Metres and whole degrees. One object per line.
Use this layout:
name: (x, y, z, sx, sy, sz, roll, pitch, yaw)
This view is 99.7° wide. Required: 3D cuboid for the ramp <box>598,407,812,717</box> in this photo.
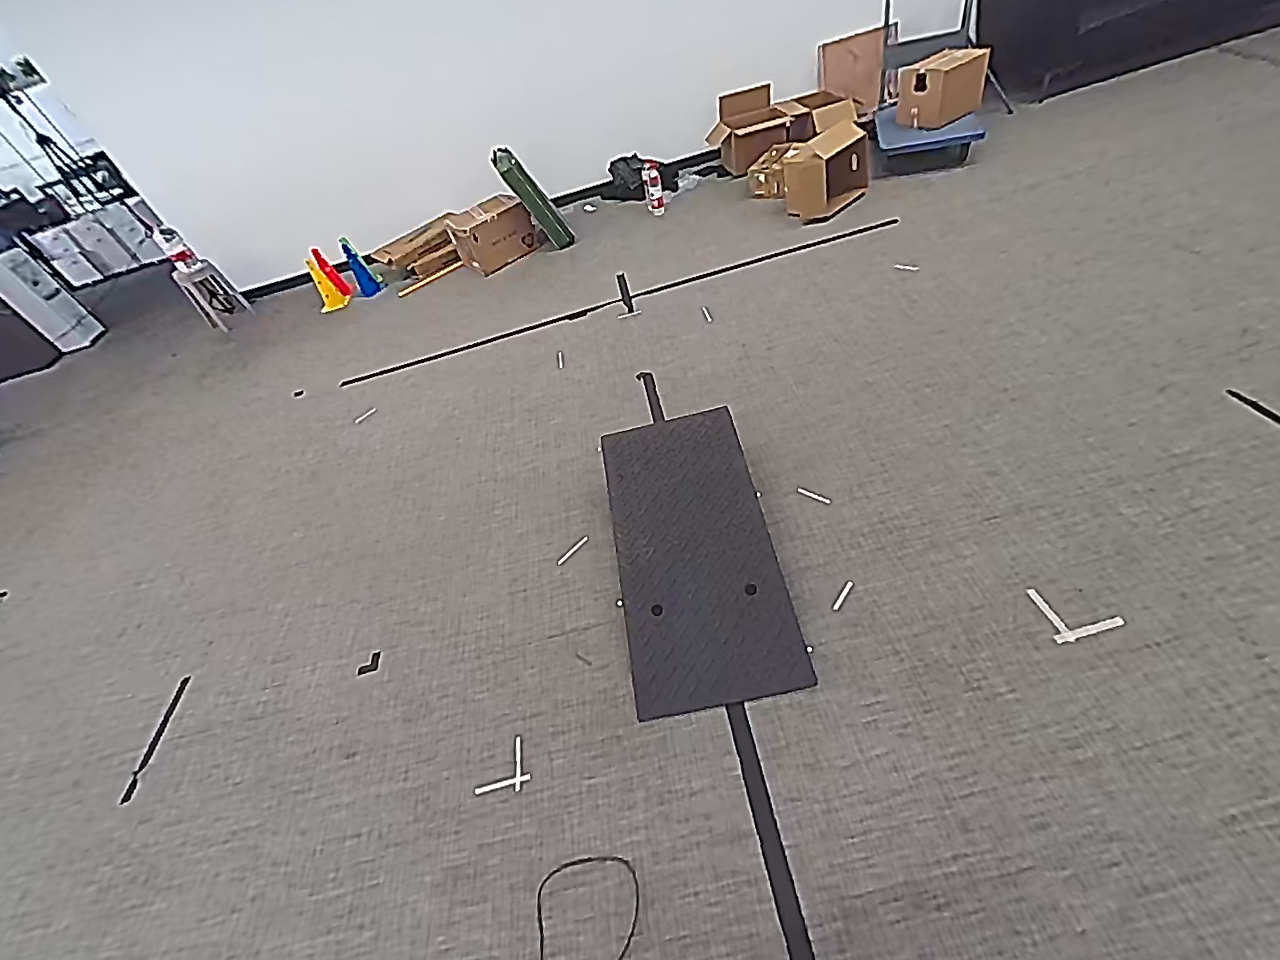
ramp: (0.153, 0.189, 1.731, 0.509, 0.206, 0.991, -14, 45, 3)
